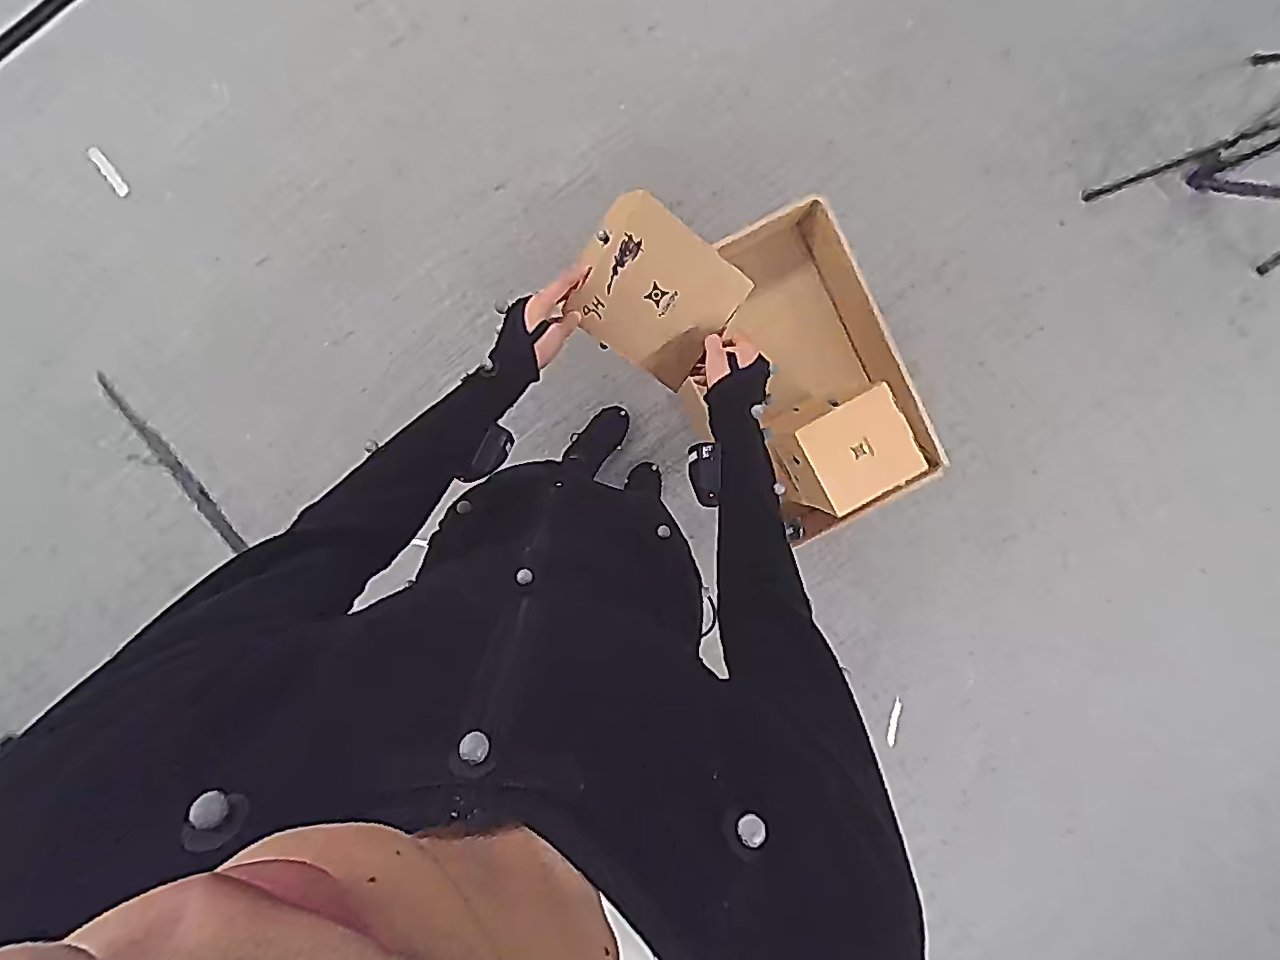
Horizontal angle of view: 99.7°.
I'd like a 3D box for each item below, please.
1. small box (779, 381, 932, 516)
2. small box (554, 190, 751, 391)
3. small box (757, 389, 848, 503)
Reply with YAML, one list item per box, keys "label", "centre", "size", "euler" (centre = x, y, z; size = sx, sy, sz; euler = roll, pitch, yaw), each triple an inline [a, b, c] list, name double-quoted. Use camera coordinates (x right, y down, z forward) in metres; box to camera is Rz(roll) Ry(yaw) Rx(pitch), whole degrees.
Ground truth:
- label: "small box"
  centre: [0.365, -0.056, 0.960]
  size: [0.179, 0.176, 0.168]
  euler: [-29, 95, 0]
- label: "small box"
  centre: [0.005, -0.247, 0.703]
  size: [0.179, 0.176, 0.168]
  euler: [30, 105, -23]
- label: "small box"
  centre: [0.359, -0.069, 1.122]
  size: [0.179, 0.176, 0.168]
  euler: [-29, 95, 0]
